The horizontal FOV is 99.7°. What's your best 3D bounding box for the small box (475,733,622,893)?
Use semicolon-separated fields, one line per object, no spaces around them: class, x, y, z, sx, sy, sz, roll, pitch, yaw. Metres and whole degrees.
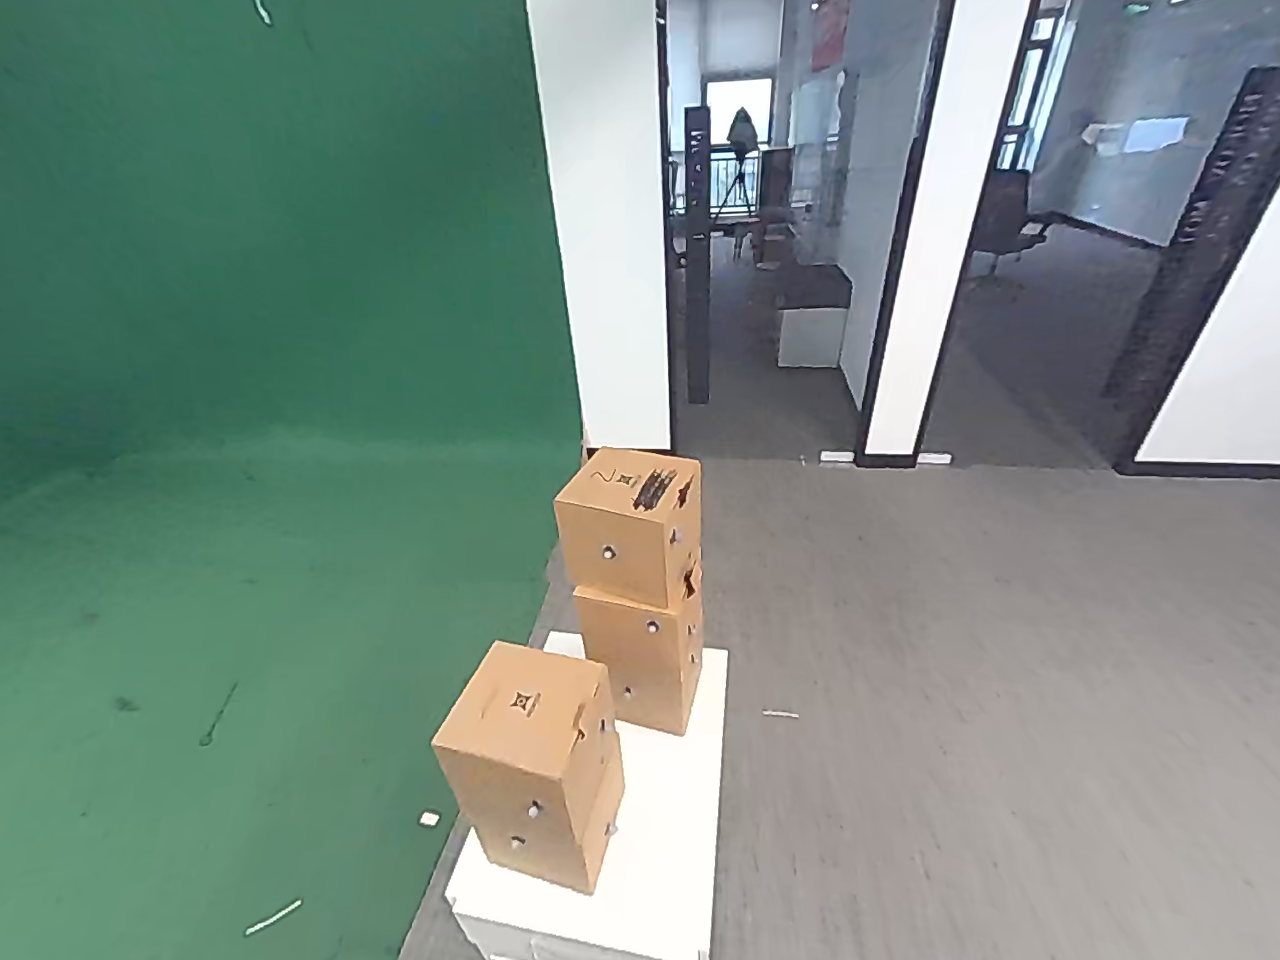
small box;-0.136;0.493;0.832;0.179;0.176;0.168;8;34;15

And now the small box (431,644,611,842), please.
small box;-0.147;0.358;0.742;0.179;0.176;0.168;6;33;15

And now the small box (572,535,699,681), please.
small box;0.000;0.221;0.938;0.179;0.176;0.168;8;35;16

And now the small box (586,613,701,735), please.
small box;0.015;0.354;1.029;0.179;0.176;0.168;7;35;17
